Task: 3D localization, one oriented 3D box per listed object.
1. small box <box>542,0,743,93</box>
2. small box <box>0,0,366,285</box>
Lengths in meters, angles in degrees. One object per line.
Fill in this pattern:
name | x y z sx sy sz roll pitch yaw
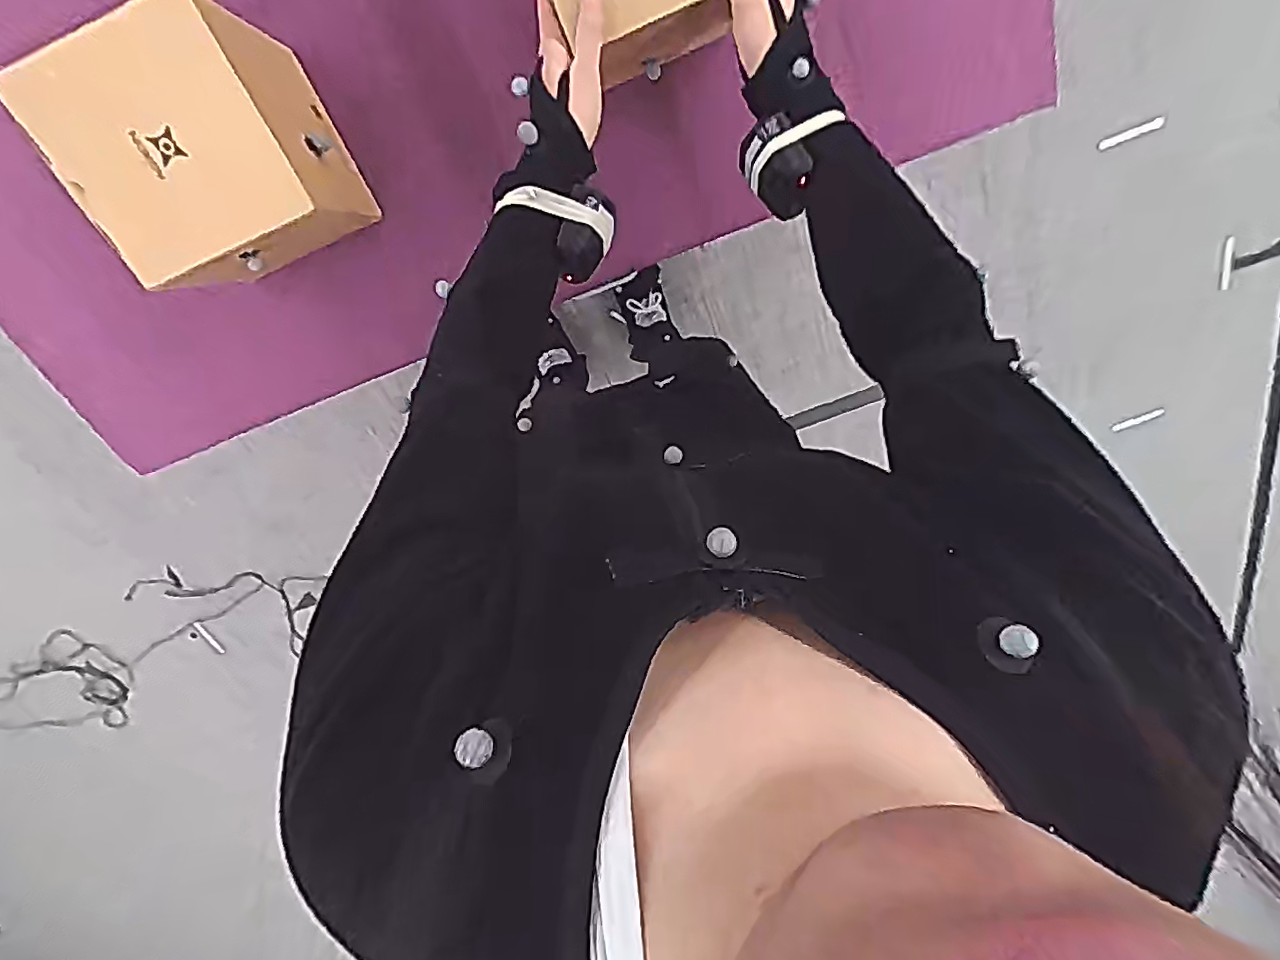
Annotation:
small box | -0.015 -0.472 0.460 0.168 0.176 0.179 -20 116 5
small box | -0.390 -0.303 0.507 0.179 0.176 0.168 -22 115 6
